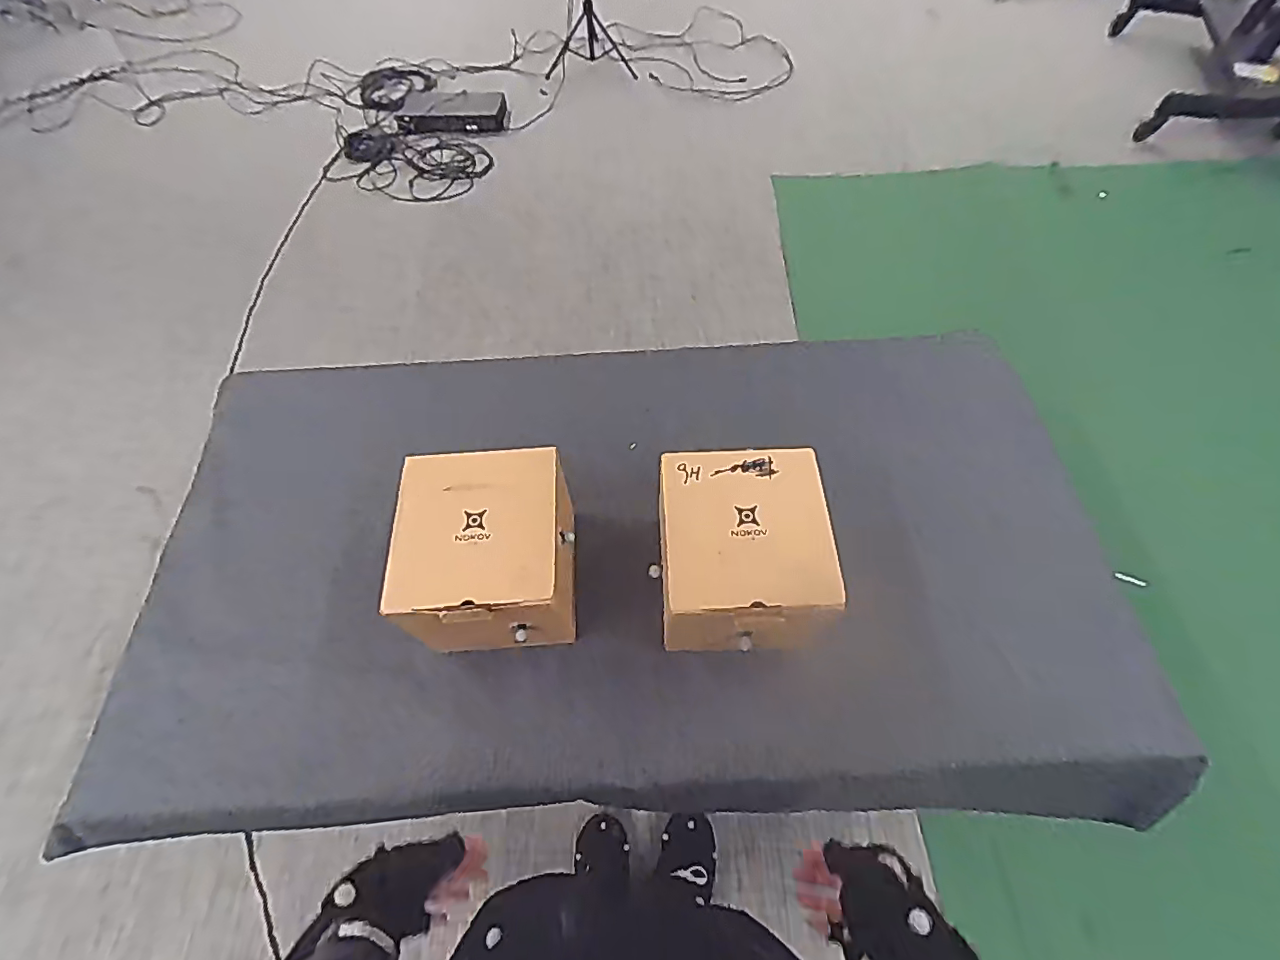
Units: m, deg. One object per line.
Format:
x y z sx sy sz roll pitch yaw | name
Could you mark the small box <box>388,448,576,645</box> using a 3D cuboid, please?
-0.165 0.085 0.625 0.168 0.176 0.179 -4 59 -2 | small box
